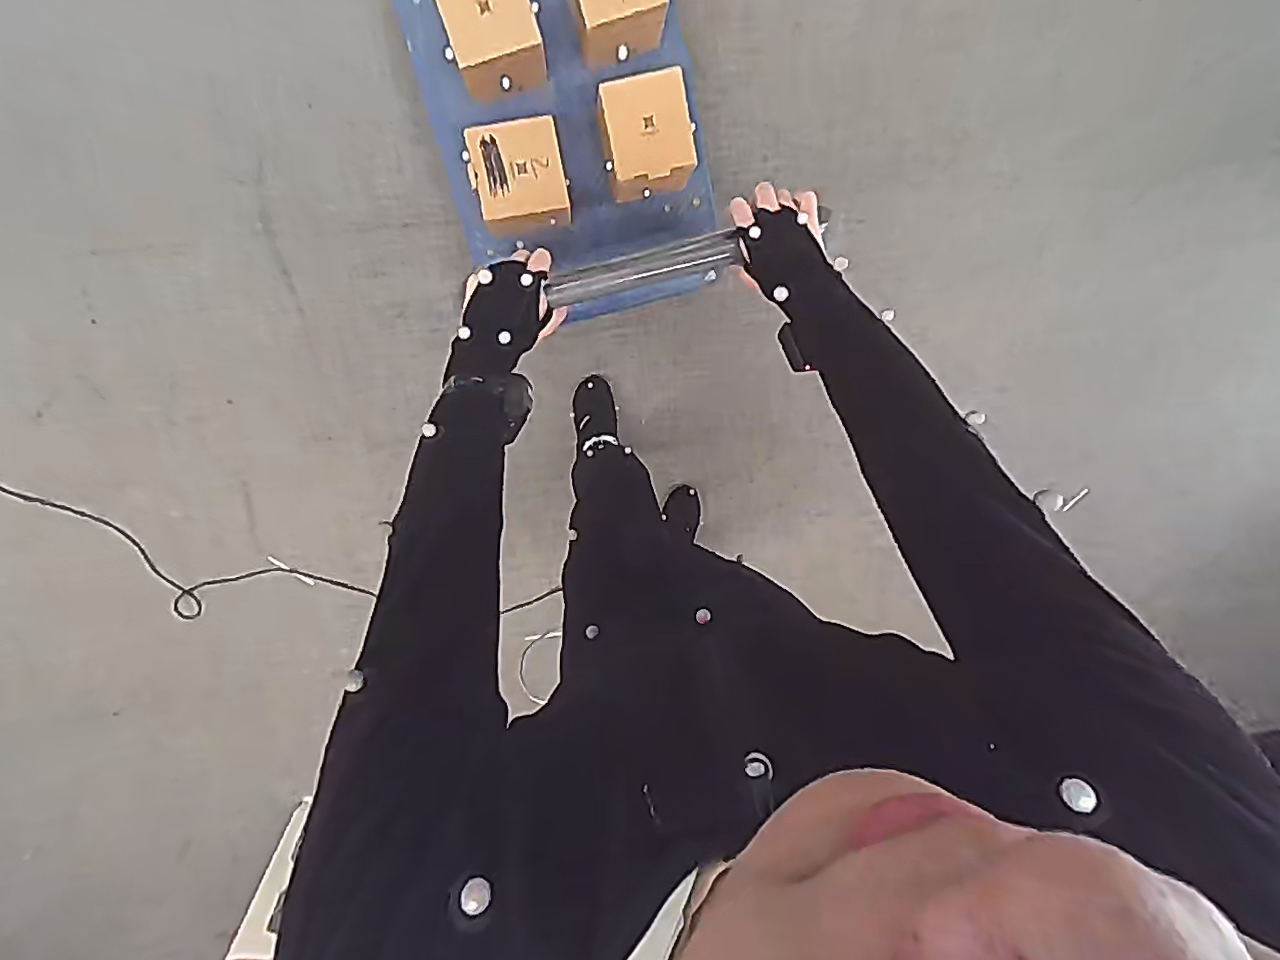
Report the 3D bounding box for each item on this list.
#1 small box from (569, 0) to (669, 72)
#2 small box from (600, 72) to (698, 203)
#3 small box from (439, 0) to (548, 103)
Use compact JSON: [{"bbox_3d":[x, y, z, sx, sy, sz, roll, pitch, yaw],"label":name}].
[{"bbox_3d":[-0.052,-0.975,1.088,0.168,0.176,0.179,-18,105,0],"label":"small box"},{"bbox_3d":[0.013,-0.722,1.156,0.168,0.176,0.179,-14,105,-2],"label":"small box"},{"bbox_3d":[-0.290,-0.895,1.084,0.168,0.176,0.179,-18,104,-2],"label":"small box"}]
